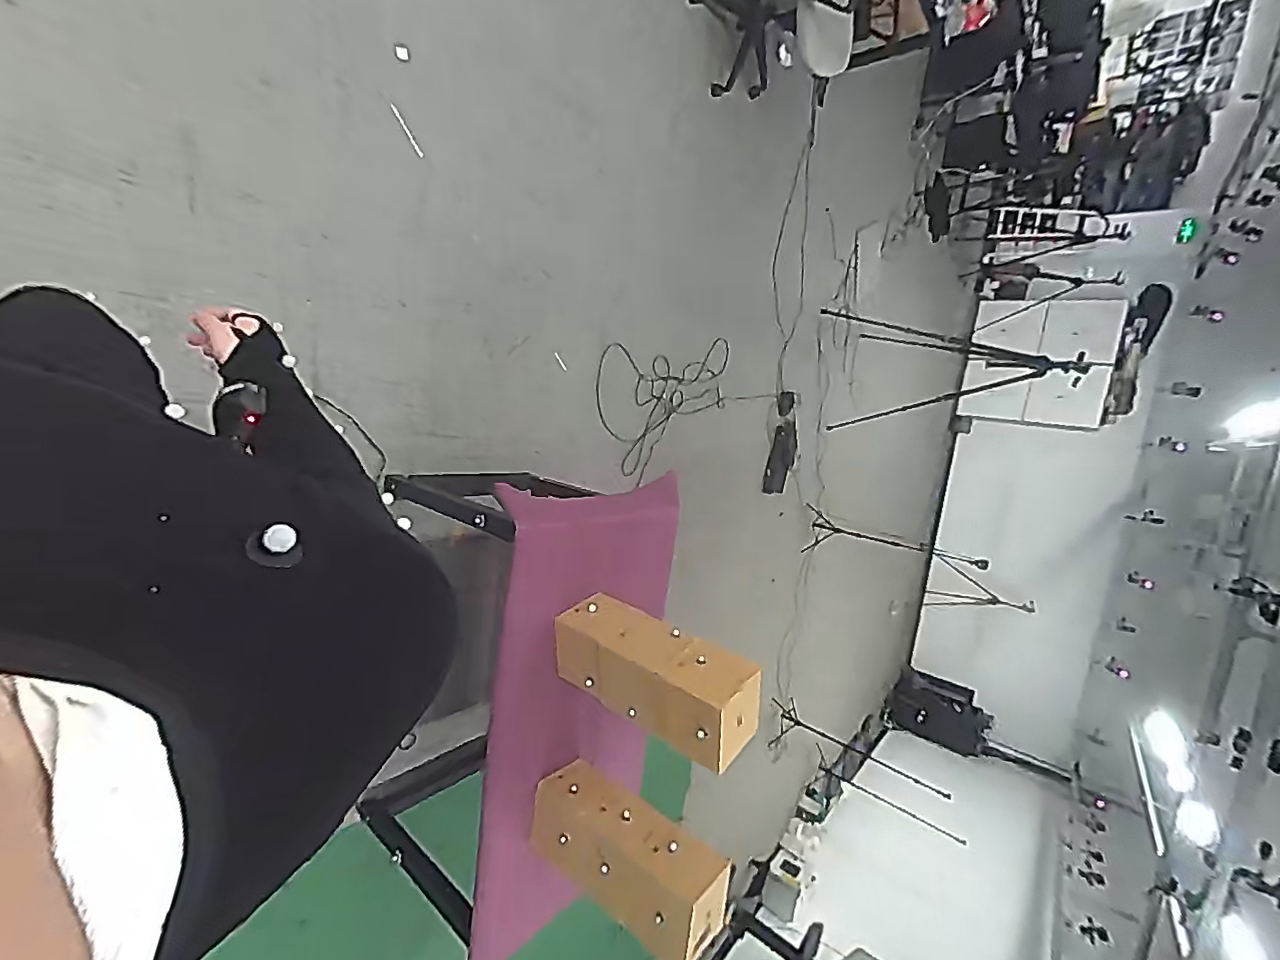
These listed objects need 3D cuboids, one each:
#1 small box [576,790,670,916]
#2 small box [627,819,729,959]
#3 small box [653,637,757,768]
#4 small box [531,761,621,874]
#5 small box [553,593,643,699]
[{"bbox_3d":[-0.045,0.918,1.359,0.168,0.176,0.179,-1,99,-52],"label":"small box"},{"bbox_3d":[0.085,0.947,1.261,0.168,0.176,0.179,-3,101,-52],"label":"small box"},{"bbox_3d":[0.142,0.484,1.203,0.168,0.176,0.179,-23,118,-47],"label":"small box"},{"bbox_3d":[-0.174,0.891,1.455,0.168,0.176,0.179,2,98,-53],"label":"small box"},{"bbox_3d":[-0.108,0.422,1.403,0.168,0.176,0.179,-22,117,-48],"label":"small box"}]
